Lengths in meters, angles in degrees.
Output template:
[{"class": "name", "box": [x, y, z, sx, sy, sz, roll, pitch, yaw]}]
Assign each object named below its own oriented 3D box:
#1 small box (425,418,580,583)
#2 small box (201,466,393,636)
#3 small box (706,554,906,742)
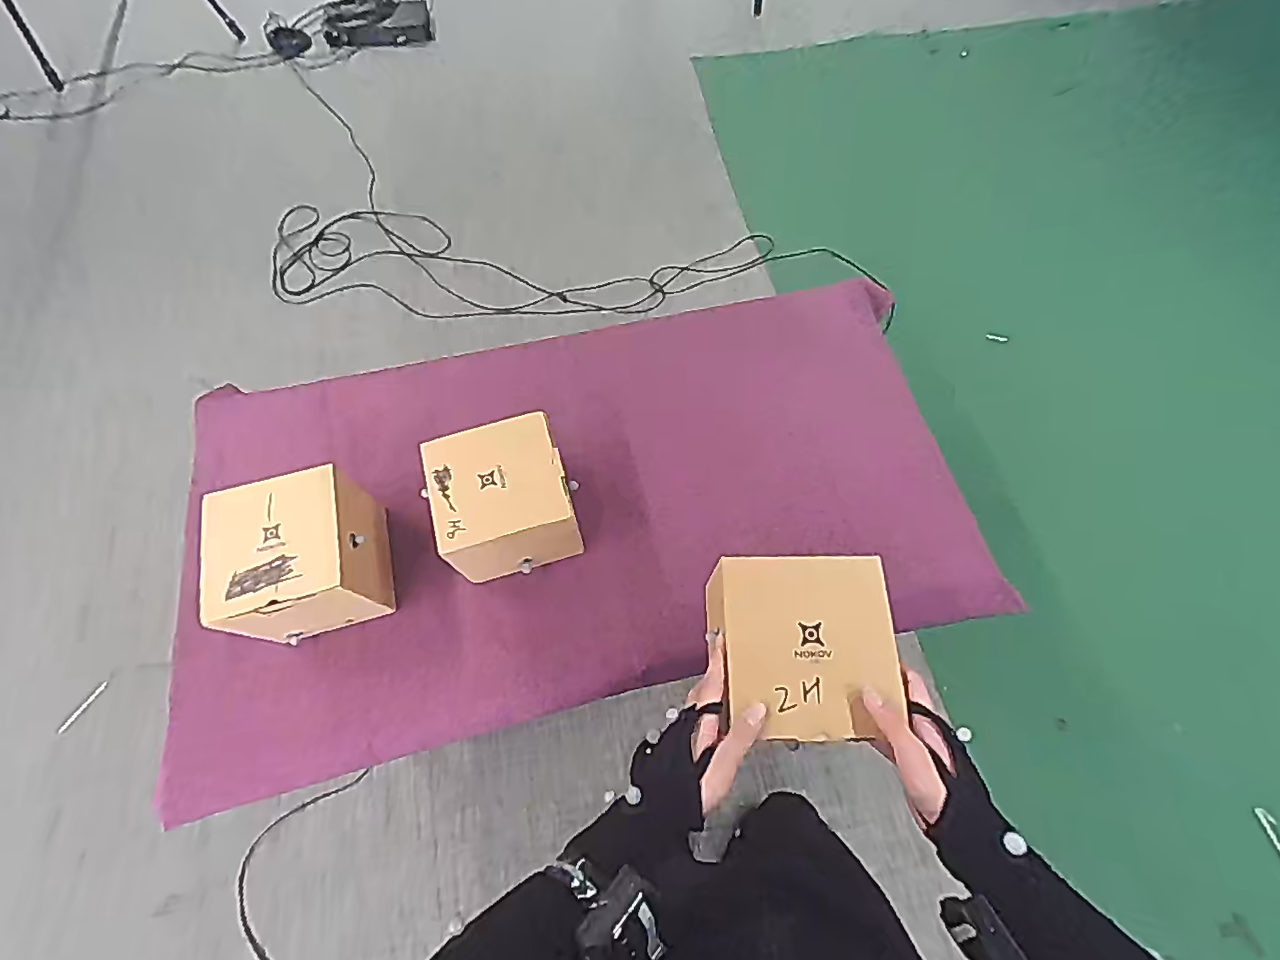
[{"class": "small box", "box": [-0.189, 0.036, 0.785, 0.179, 0.176, 0.168, -15, 68, -7]}, {"class": "small box", "box": [-0.460, 0.109, 0.750, 0.168, 0.176, 0.179, -14, 66, -7]}, {"class": "small box", "box": [0.165, 0.188, 0.601, 0.168, 0.176, 0.179, 0, 69, 1]}]
